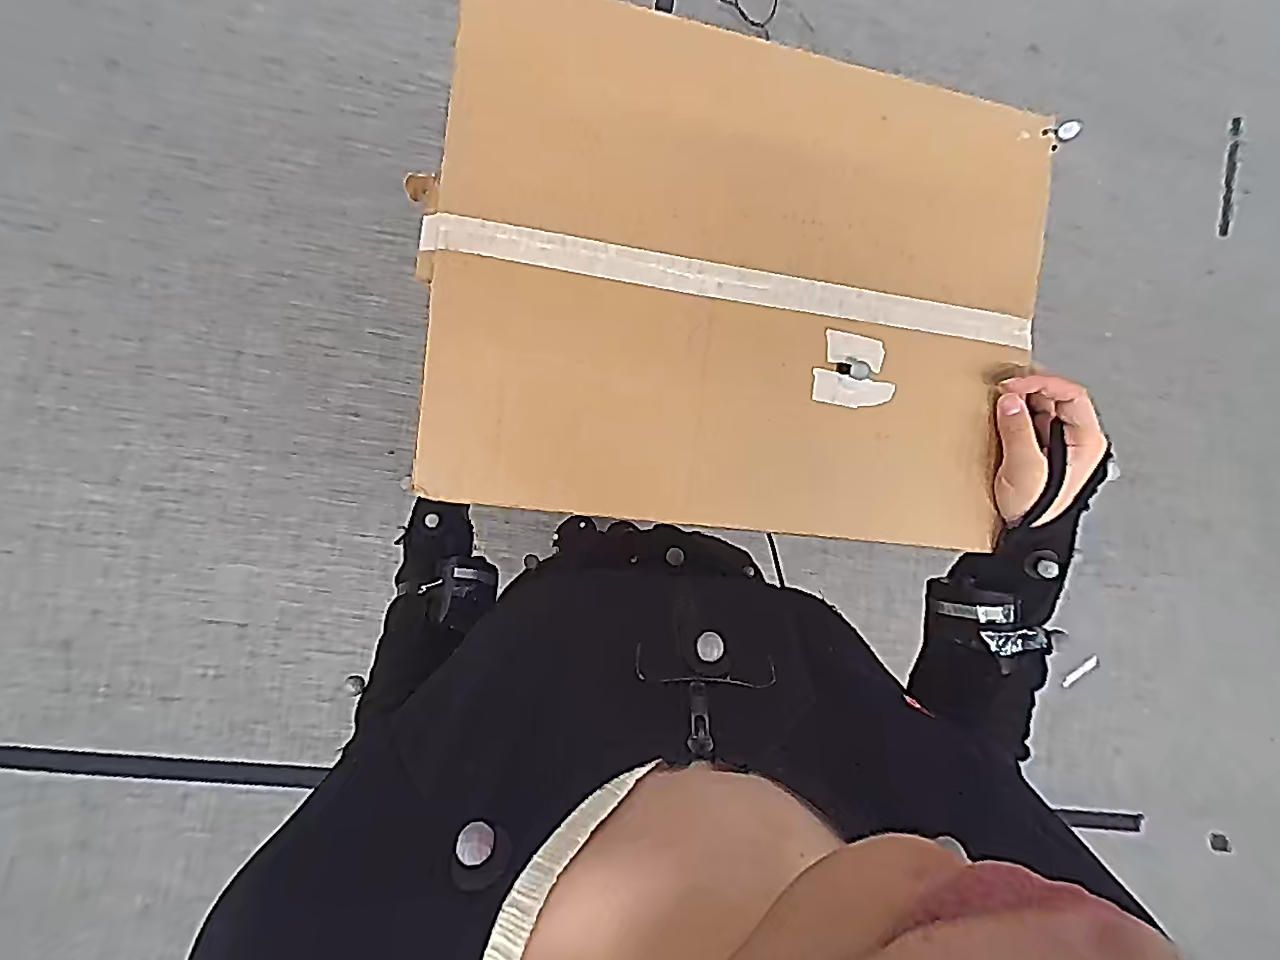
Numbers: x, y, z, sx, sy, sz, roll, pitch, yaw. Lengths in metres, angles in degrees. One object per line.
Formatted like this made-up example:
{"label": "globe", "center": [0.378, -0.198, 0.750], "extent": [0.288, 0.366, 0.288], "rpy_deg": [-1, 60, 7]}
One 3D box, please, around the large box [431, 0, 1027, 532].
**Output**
{"label": "large box", "center": [0.048, -0.134, 0.506], "extent": [0.408, 0.320, 0.320], "rpy_deg": [6, 92, -12]}
